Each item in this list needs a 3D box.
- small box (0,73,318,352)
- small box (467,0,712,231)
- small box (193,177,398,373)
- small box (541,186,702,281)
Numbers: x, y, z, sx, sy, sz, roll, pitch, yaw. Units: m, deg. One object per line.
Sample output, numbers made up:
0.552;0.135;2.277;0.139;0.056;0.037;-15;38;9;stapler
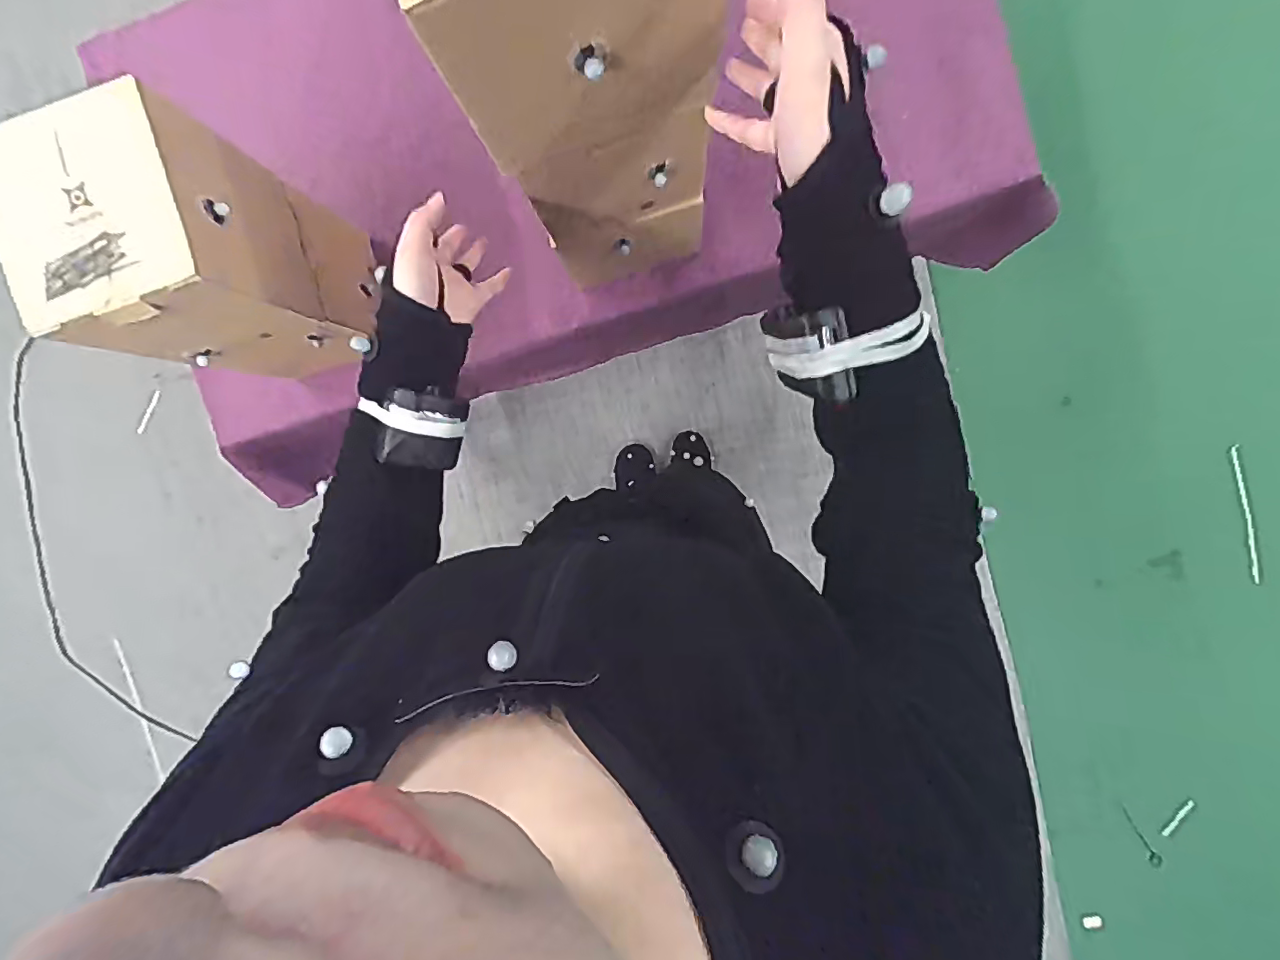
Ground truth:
-0.460;-0.236;0.534;0.168;0.176;0.179;-16;92;4;small box
-0.038;-0.356;0.500;0.168;0.176;0.179;-17;92;4;small box
-0.452;-0.246;0.697;0.179;0.176;0.168;-16;93;3;small box
-0.029;-0.363;0.663;0.179;0.176;0.168;-14;94;4;small box
